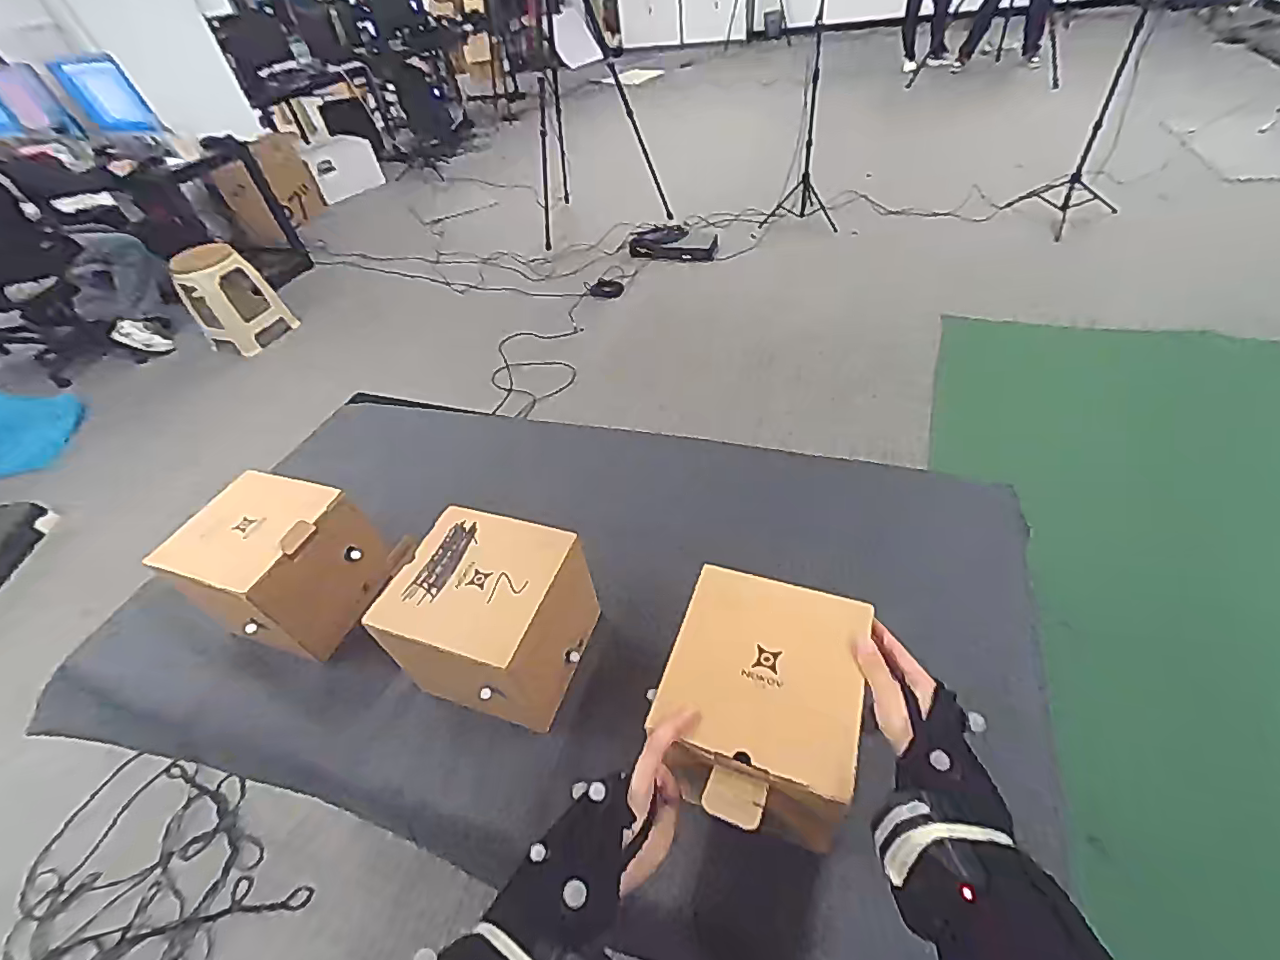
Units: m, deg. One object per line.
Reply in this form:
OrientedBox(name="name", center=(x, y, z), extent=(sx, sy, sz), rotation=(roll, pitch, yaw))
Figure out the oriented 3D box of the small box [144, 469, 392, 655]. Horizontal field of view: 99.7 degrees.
OrientedBox(name="small box", center=(-0.474, 0.111, 0.722), extent=(0.179, 0.176, 0.168), rotation=(9, 47, 18))
